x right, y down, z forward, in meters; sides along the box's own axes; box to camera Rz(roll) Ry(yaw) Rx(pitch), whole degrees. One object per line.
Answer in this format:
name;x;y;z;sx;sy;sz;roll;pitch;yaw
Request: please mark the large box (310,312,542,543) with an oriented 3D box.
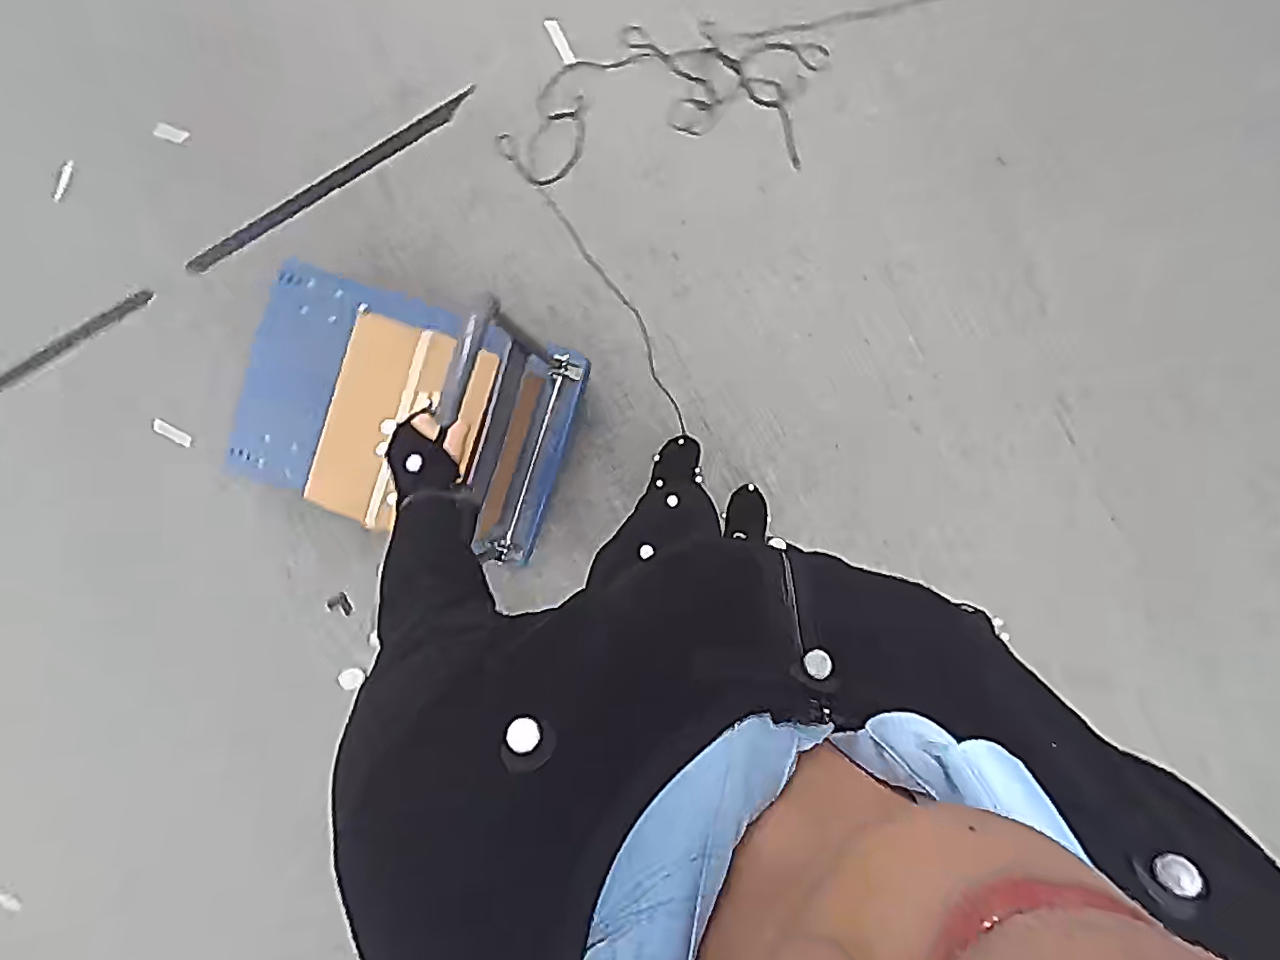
large box;-0.462;-0.107;1.235;0.320;0.320;0.408;19;93;4
